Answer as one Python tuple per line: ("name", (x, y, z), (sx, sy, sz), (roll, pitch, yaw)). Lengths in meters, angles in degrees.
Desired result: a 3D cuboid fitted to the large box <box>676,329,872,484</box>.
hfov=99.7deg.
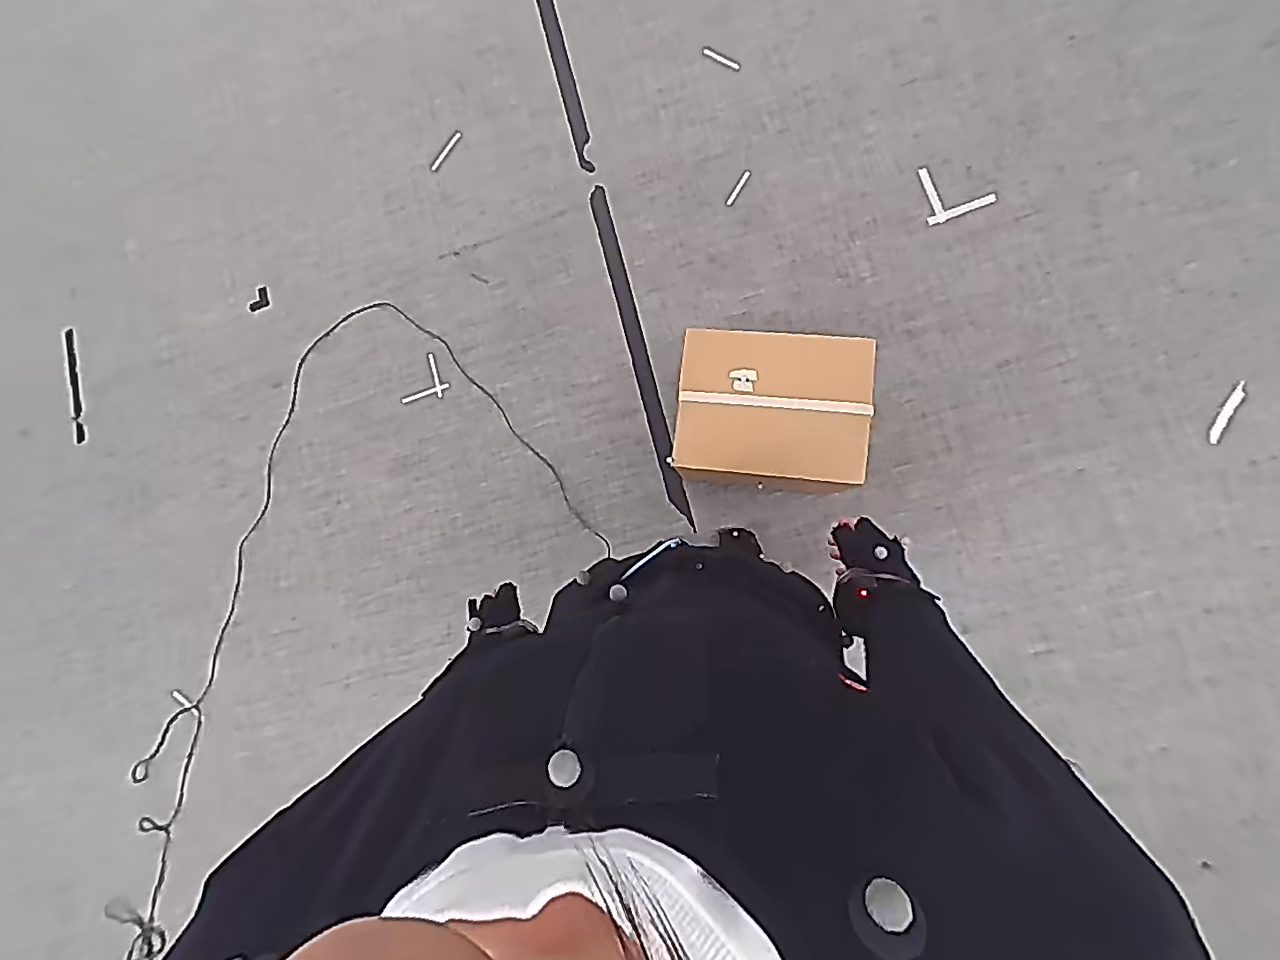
("large box", (0.314, -0.162, 1.318), (0.408, 0.320, 0.320), (5, 85, 10))
